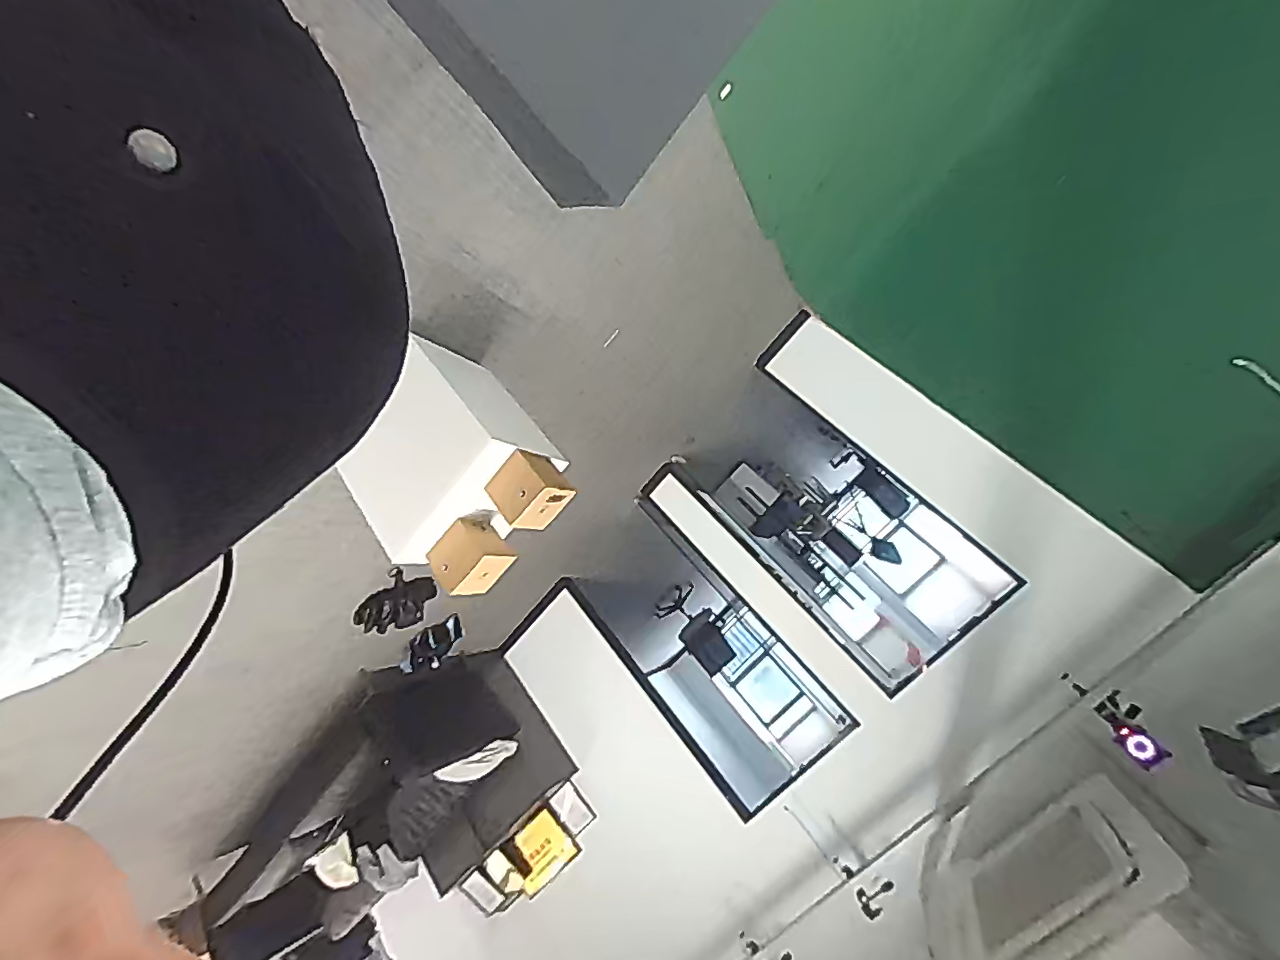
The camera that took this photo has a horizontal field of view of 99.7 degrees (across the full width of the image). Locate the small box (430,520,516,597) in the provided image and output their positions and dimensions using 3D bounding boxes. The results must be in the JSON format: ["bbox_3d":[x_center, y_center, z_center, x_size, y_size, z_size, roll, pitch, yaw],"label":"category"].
[{"bbox_3d":[-0.541,0.252,1.730,0.179,0.176,0.168,-49,156,9],"label":"small box"}]

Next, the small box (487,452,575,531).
[{"bbox_3d":[-0.341,0.037,1.674,0.179,0.176,0.168,-47,156,14],"label":"small box"}]
